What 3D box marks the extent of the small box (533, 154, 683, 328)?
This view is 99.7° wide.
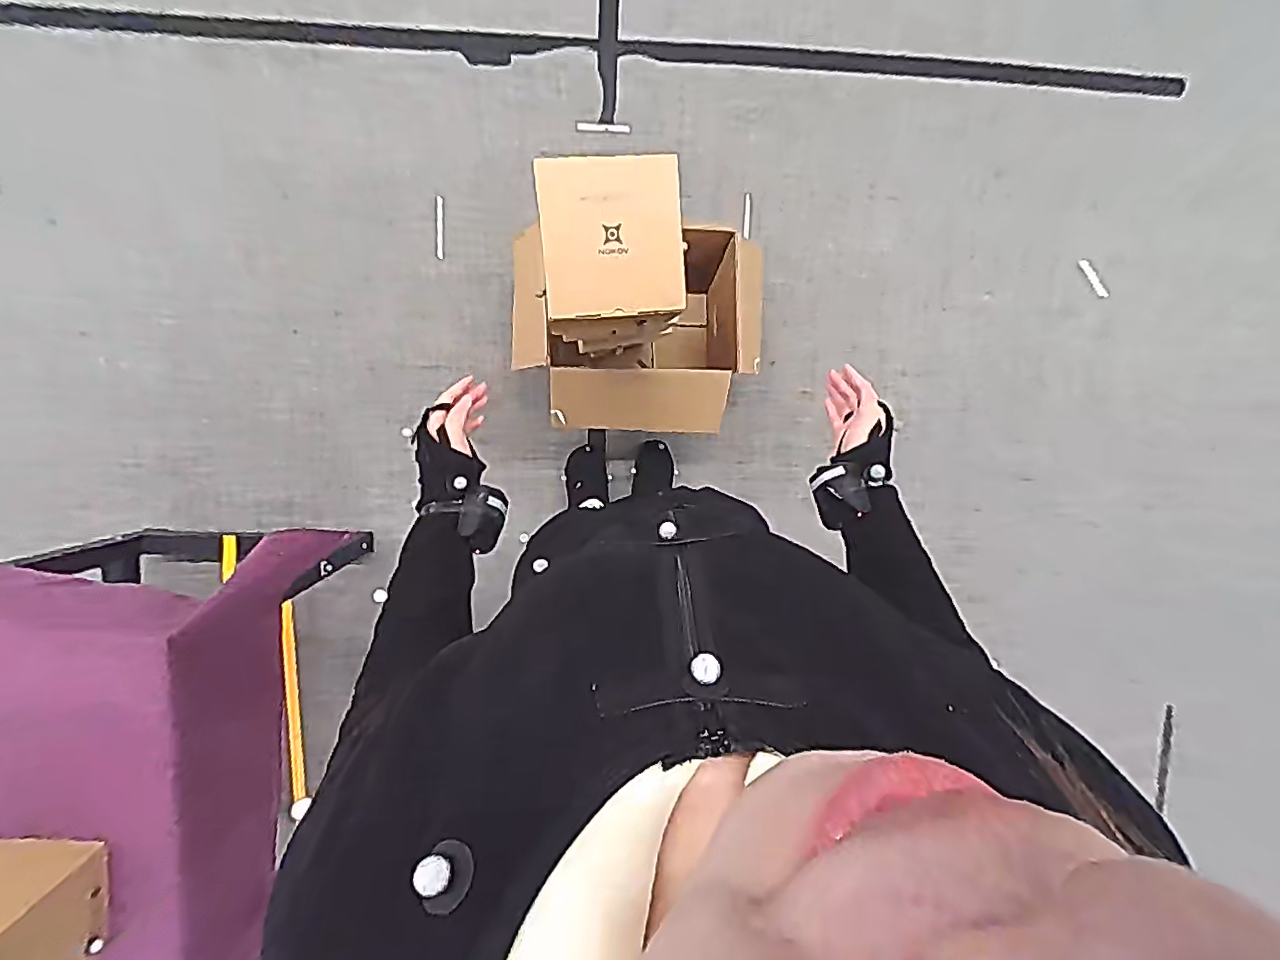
[{"bbox_3d":[-0.044,-0.293,0.699,0.168,0.176,0.179,-6,100,-8],"label":"small box"}]

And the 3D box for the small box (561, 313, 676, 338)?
[{"bbox_3d":[-0.047,-0.321,0.860,0.179,0.176,0.168,-7,101,-7],"label":"small box"}]

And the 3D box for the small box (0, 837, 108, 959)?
[{"bbox_3d":[-0.826,0.585,0.677,0.179,0.176,0.168,5,96,-4],"label":"small box"}]
